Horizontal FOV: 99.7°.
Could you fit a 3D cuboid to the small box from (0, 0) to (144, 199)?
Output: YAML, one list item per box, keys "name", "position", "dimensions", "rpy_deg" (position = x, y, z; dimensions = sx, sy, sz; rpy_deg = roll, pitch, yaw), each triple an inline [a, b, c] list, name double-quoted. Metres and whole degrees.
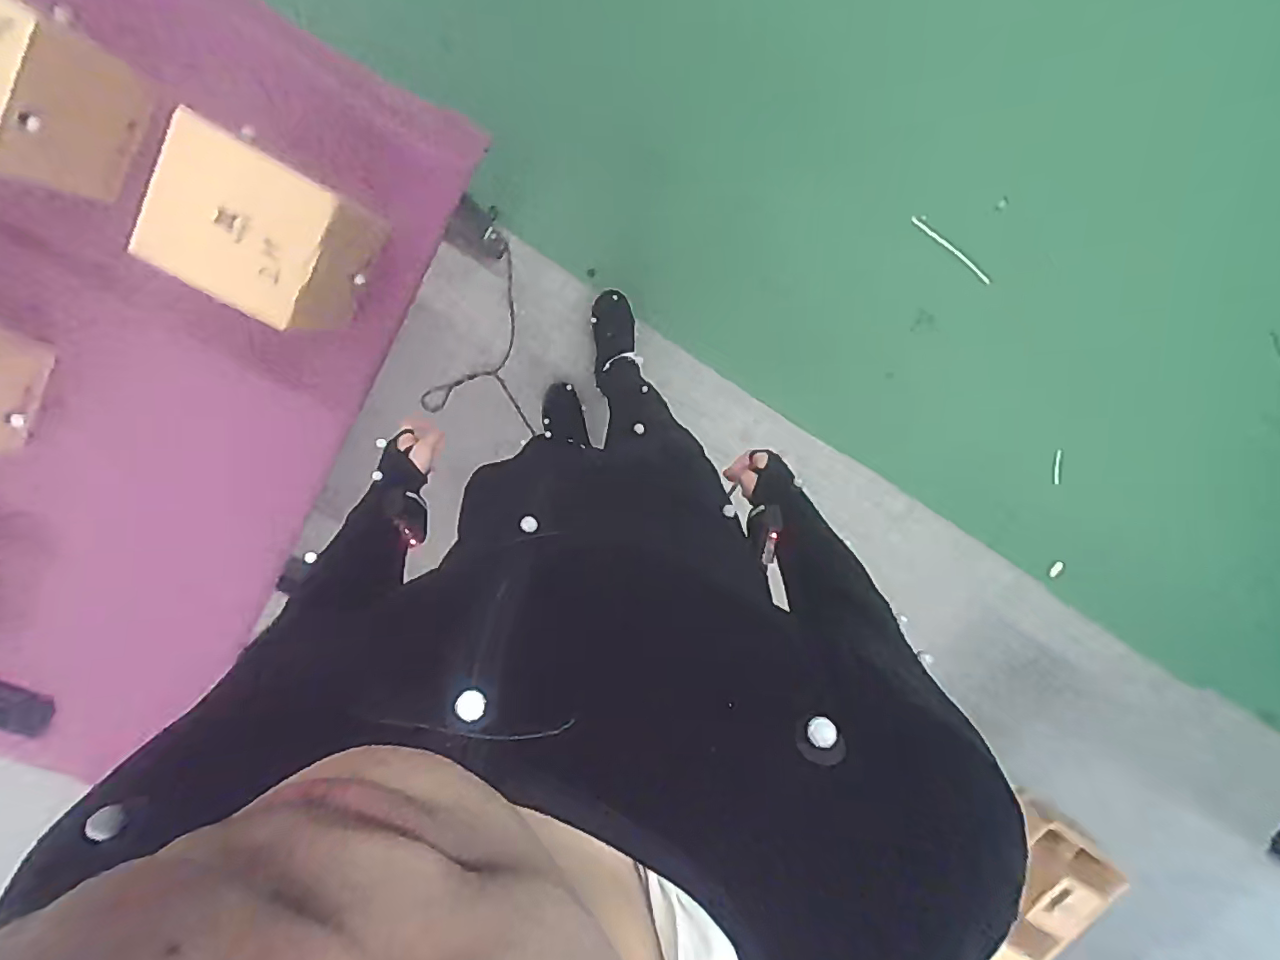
- name: "small box"
  position: [-0.727, -0.445, 0.598]
  dimensions: [0.179, 0.176, 0.168]
  rpy_deg: [30, 100, -13]

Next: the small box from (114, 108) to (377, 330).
- name: "small box"
  position: [-0.463, -0.297, 0.663]
  dimensions: [0.179, 0.176, 0.168]
  rpy_deg: [28, 102, -13]

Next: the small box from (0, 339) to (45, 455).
- name: "small box"
  position: [-0.924, -0.116, 0.665]
  dimensions: [0.179, 0.176, 0.168]
  rpy_deg: [28, 101, -13]

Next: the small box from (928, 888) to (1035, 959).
- name: "small box"
  position: [0.997, 1.350, 1.584]
  dimensions: [0.179, 0.176, 0.168]
  rpy_deg: [36, 98, -12]
